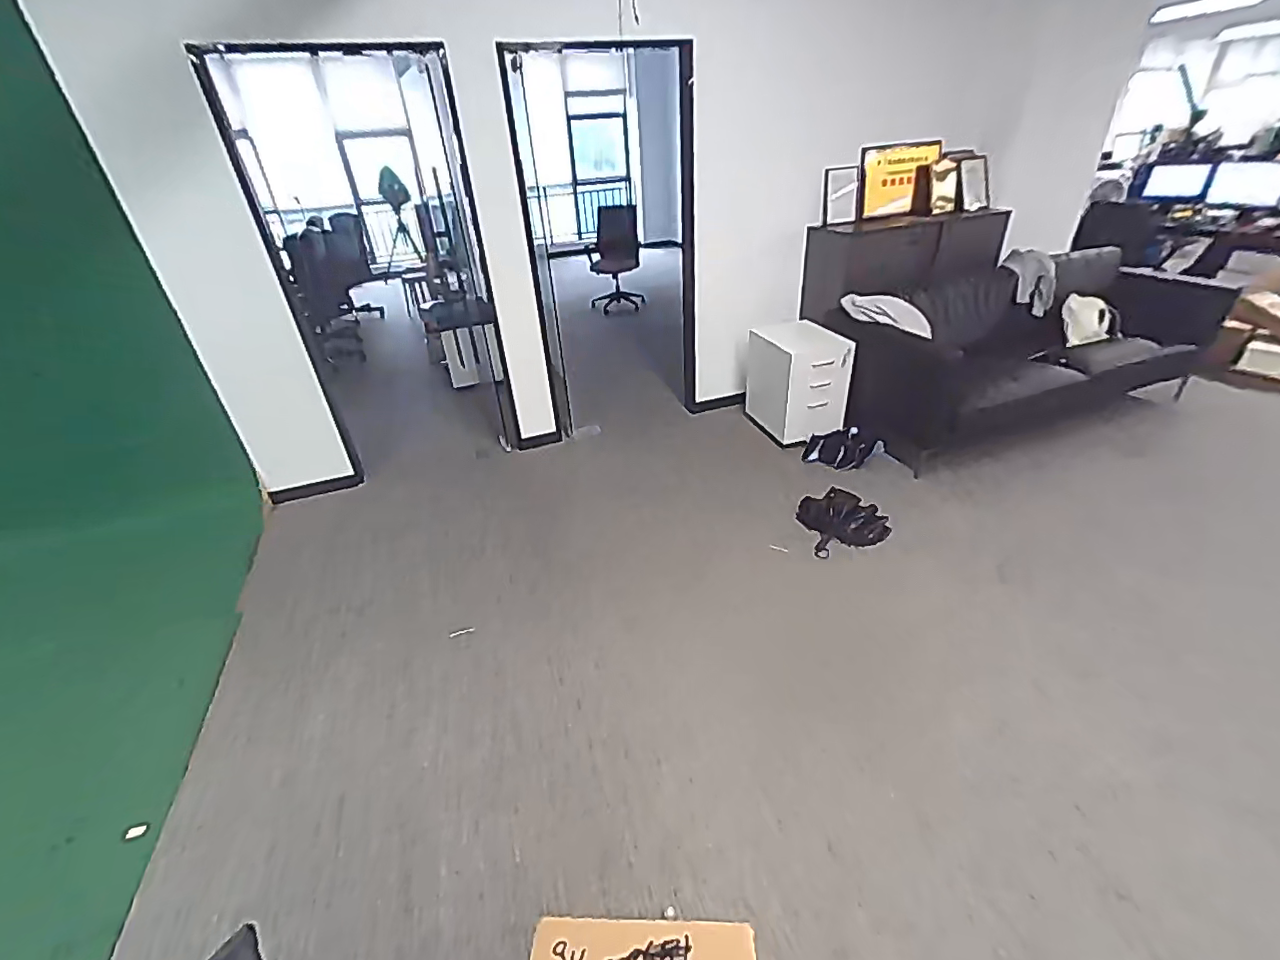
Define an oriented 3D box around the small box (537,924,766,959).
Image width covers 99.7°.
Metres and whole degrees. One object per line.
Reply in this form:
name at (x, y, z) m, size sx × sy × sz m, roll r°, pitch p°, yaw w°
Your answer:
small box at (0.012, 0.444, 0.373) m, size 0.168 × 0.176 × 0.179 m, roll -3°, pitch 36°, yaw 6°
